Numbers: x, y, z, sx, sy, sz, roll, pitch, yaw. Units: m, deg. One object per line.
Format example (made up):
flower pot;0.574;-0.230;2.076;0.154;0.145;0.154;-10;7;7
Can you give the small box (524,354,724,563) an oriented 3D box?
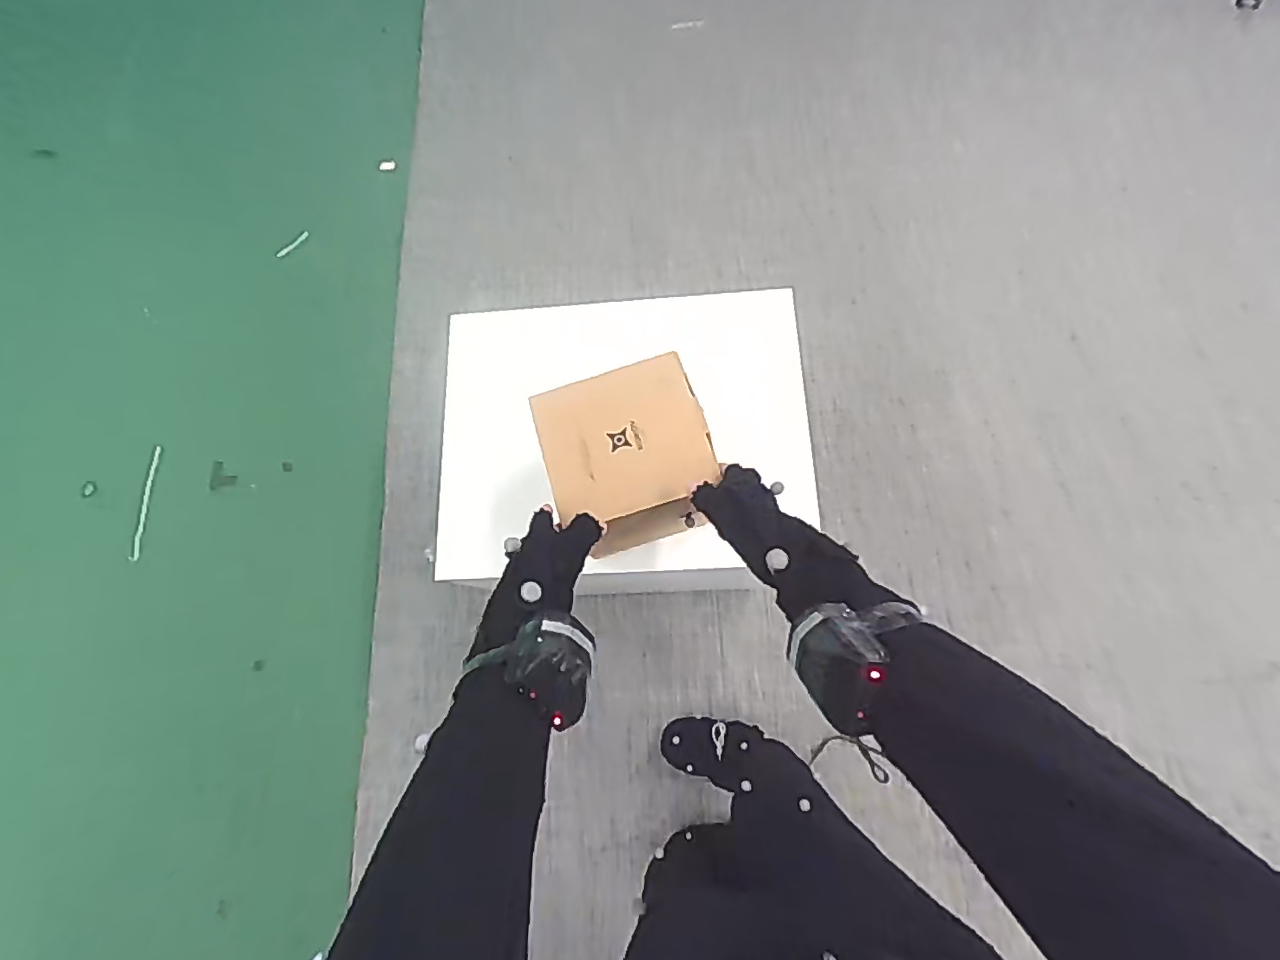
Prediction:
small box;-0.011;-0.014;0.641;0.179;0.176;0.168;-21;70;3
